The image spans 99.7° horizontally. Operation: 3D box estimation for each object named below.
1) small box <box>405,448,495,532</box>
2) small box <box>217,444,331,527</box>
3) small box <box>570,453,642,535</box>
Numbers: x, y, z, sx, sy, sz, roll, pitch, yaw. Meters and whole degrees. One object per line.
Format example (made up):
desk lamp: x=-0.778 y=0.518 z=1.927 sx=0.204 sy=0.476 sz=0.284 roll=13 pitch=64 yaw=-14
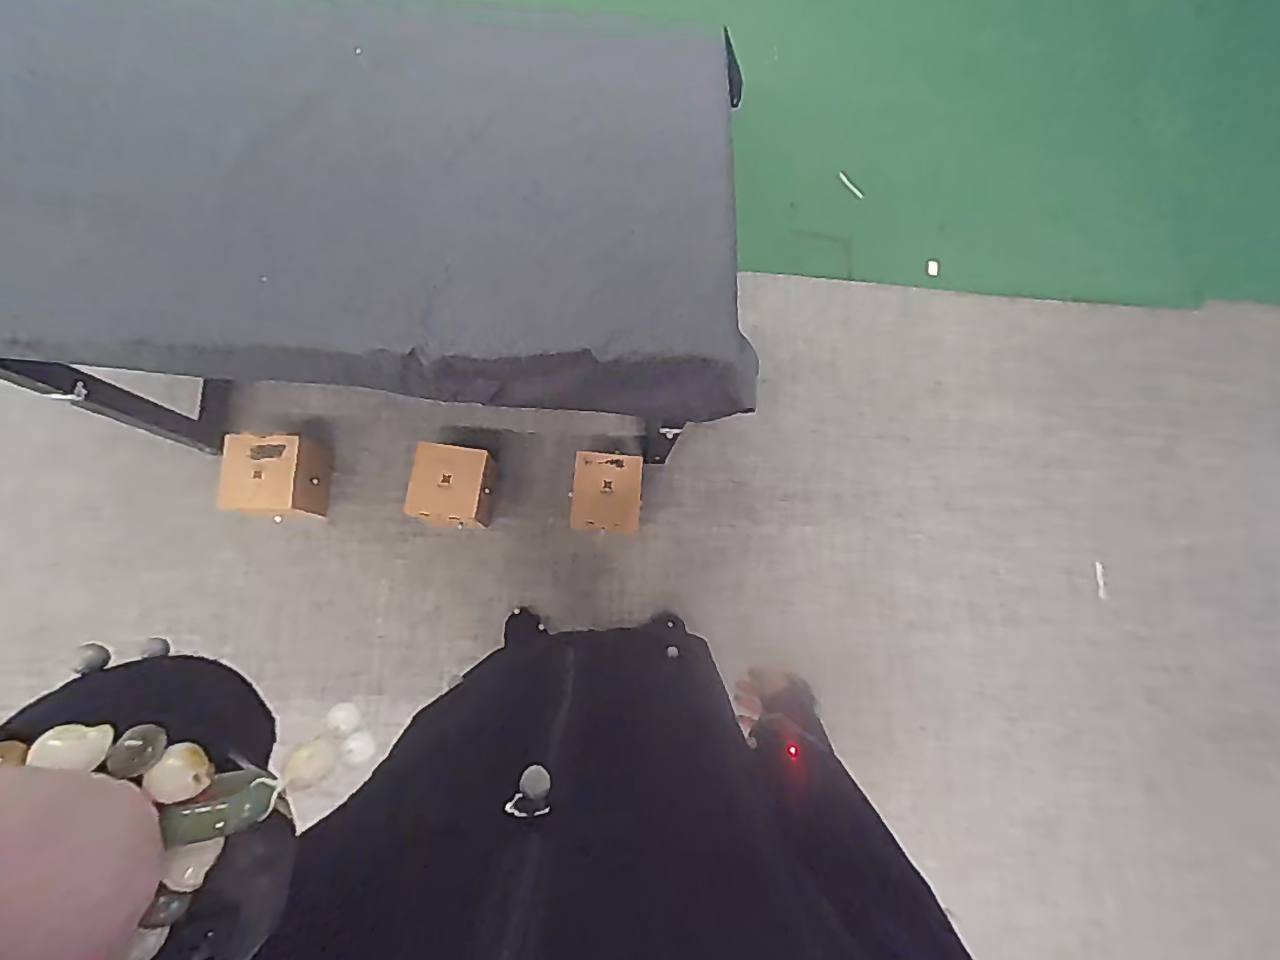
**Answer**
small box: x=-0.464 y=0.032 z=1.348 sx=0.168 sy=0.176 sz=0.179 roll=6 pitch=77 yaw=-5
small box: x=-0.876 y=0.019 z=1.312 sx=0.168 sy=0.176 sz=0.179 roll=0 pitch=79 yaw=-5
small box: x=-0.085 y=0.042 z=1.379 sx=0.168 sy=0.176 sz=0.179 roll=4 pitch=77 yaw=-4
